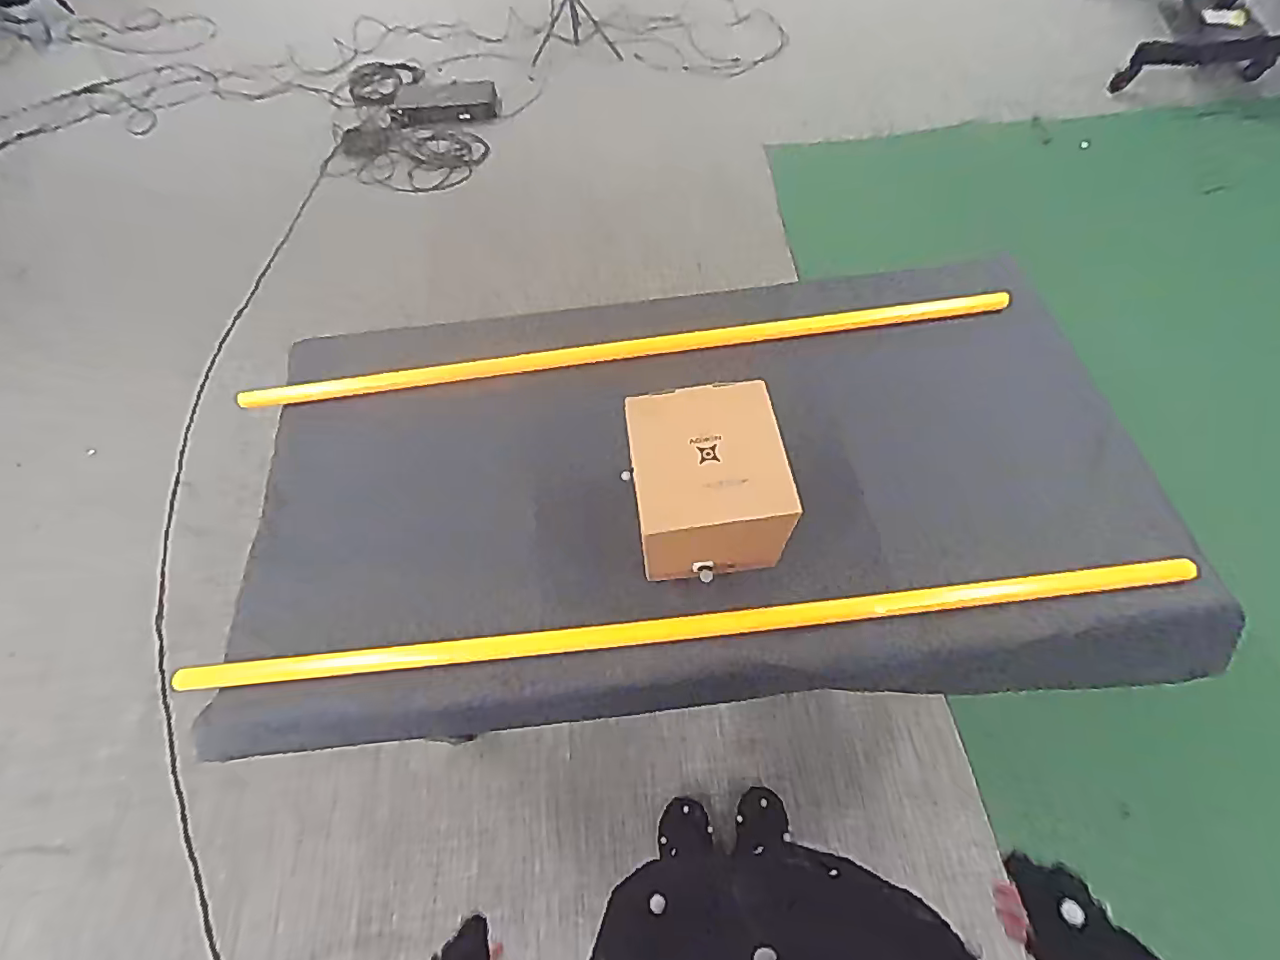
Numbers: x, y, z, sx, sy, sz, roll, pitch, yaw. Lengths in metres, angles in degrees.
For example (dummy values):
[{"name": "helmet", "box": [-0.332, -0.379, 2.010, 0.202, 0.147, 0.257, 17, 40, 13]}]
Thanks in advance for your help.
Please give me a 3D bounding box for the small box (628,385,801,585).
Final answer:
[{"name": "small box", "box": [0.080, 0.012, 0.662, 0.168, 0.176, 0.179, -9, 62, 0]}]
